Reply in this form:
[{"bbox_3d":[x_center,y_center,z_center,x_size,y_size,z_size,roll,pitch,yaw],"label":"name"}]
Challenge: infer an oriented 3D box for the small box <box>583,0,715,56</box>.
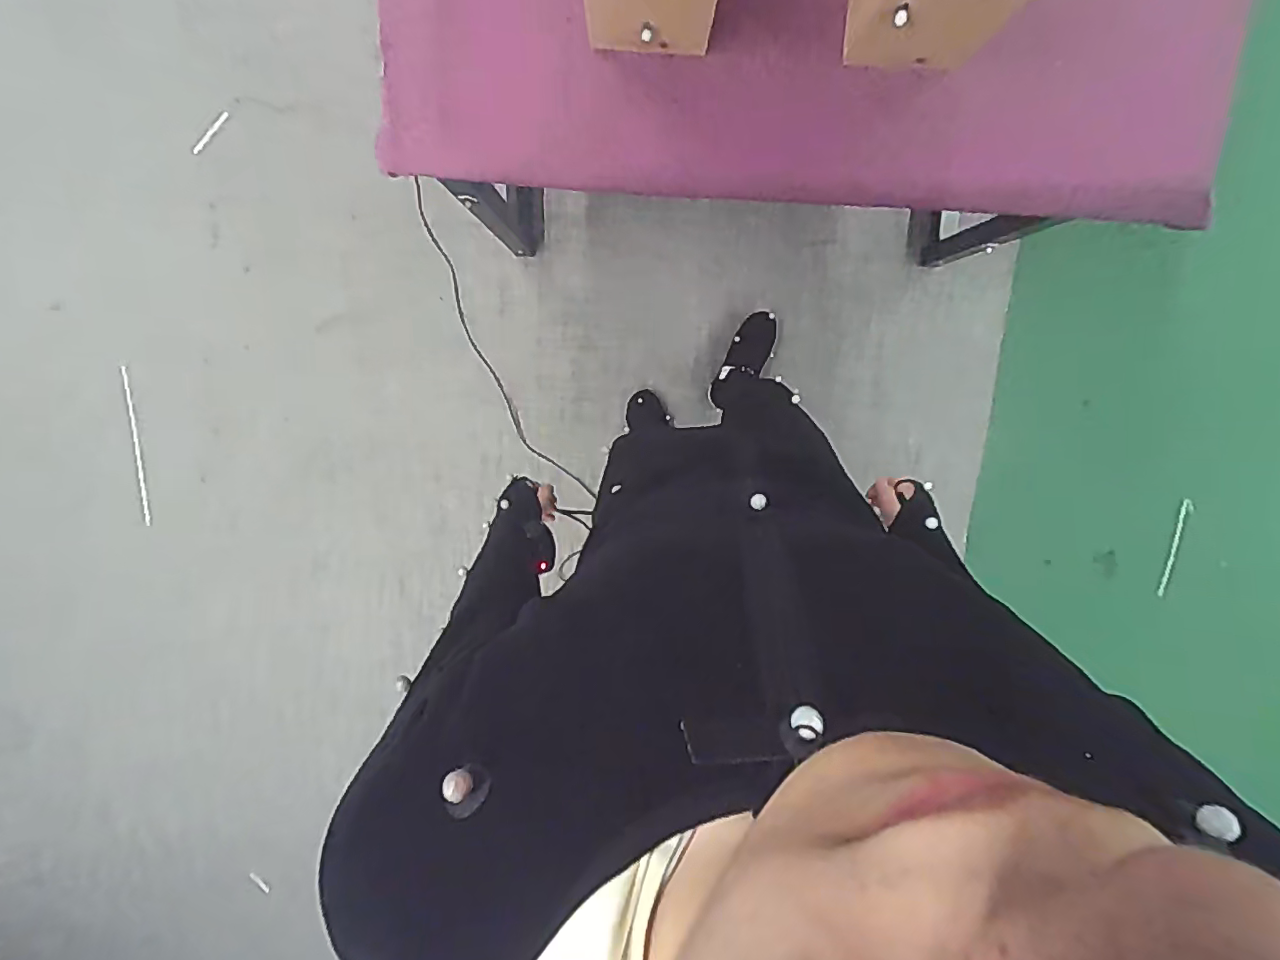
[{"bbox_3d":[0.014,-0.669,0.659,0.168,0.176,0.179,3,101,-1],"label":"small box"}]
